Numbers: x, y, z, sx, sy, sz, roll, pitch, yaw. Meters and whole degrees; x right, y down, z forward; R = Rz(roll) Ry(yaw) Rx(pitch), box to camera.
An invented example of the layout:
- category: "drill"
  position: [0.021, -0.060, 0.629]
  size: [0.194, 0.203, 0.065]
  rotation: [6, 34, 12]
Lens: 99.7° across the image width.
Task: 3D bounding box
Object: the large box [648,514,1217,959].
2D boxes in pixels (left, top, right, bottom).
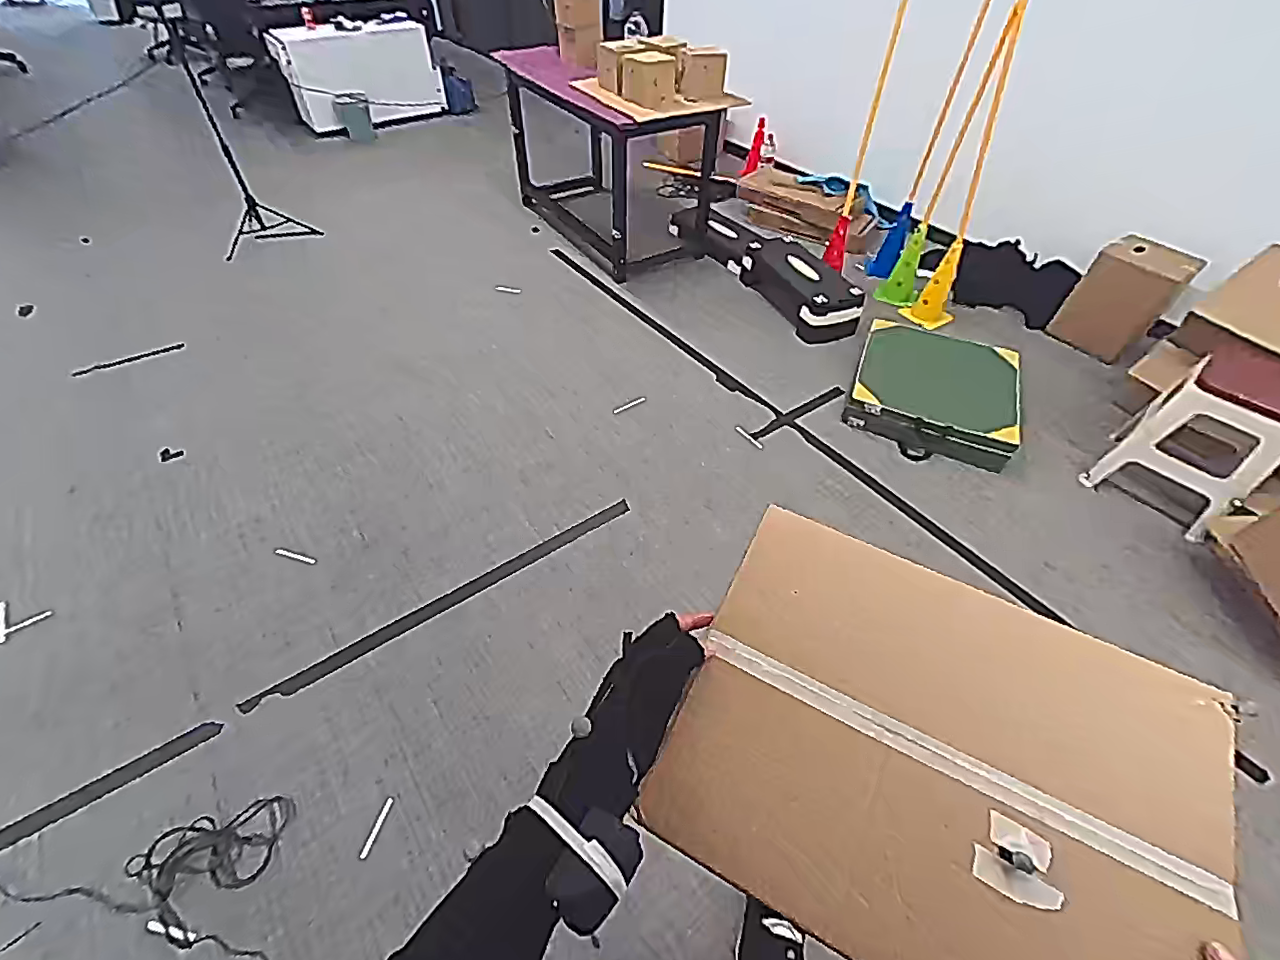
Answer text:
- category: "large box"
  position: [0.254, 0.299, 0.584]
  size: [0.408, 0.320, 0.320]
  rotation: [24, 65, 16]
